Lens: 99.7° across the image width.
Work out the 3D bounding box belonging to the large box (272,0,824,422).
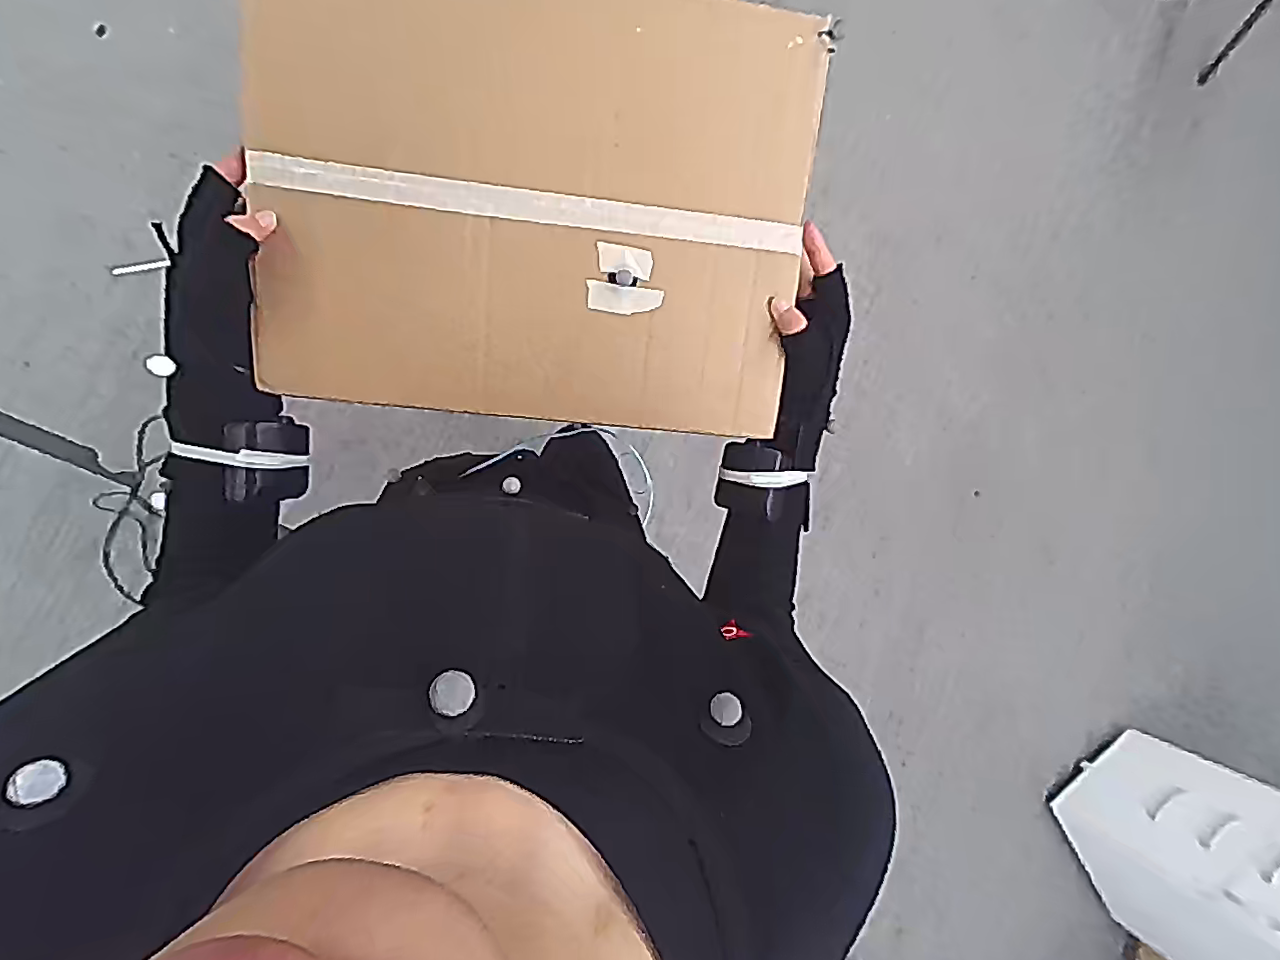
[{"bbox_3d":[-0.086,-0.241,0.560,0.408,0.320,0.320,5,102,-8],"label":"large box"}]
